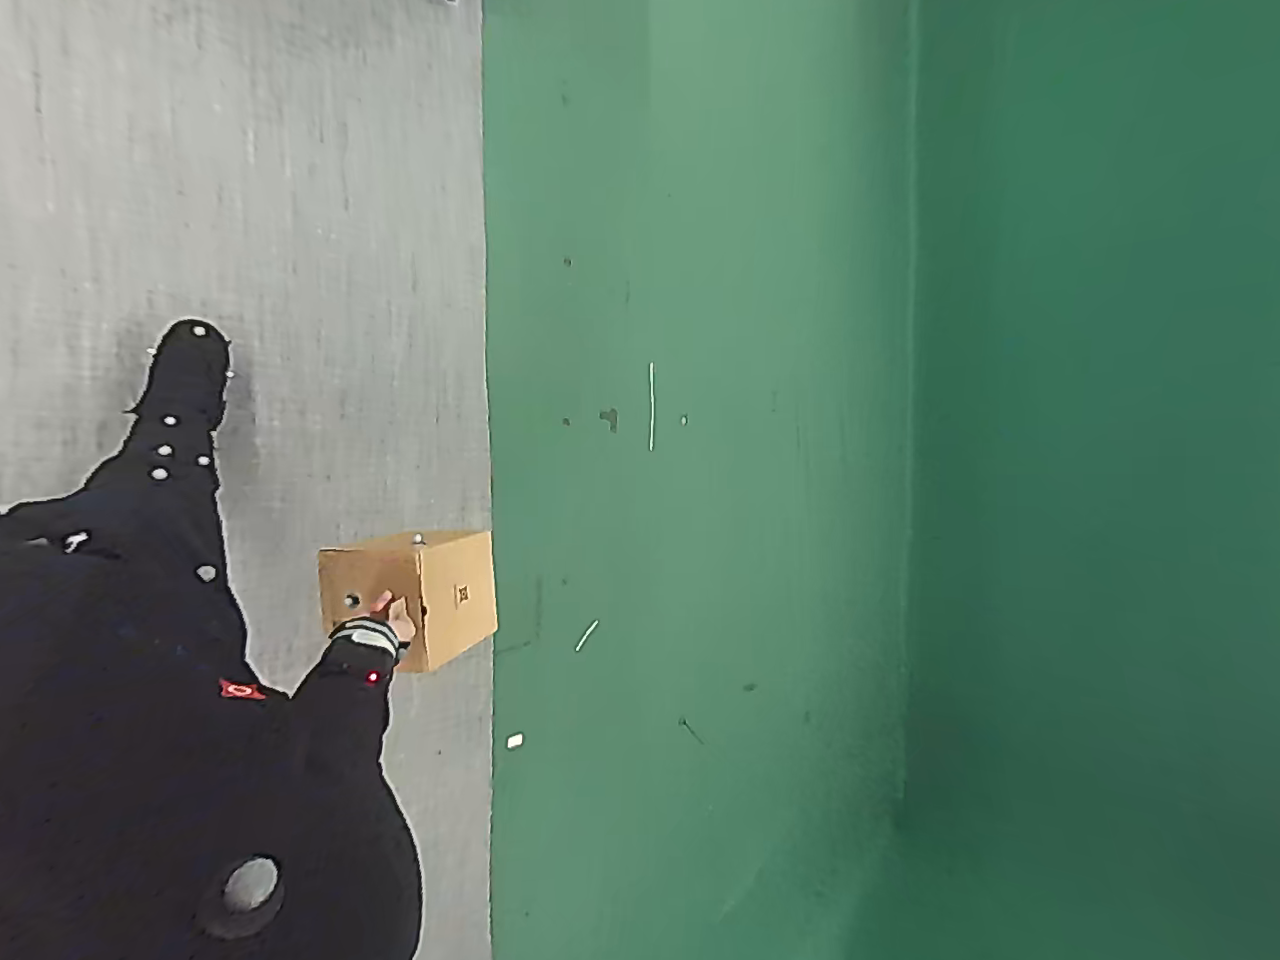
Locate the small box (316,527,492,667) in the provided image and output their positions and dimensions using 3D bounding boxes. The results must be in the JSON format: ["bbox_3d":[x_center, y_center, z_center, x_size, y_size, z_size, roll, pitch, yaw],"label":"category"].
[{"bbox_3d":[-0.342,0.161,0.805,0.179,0.176,0.168,-15,102,-74],"label":"small box"}]
